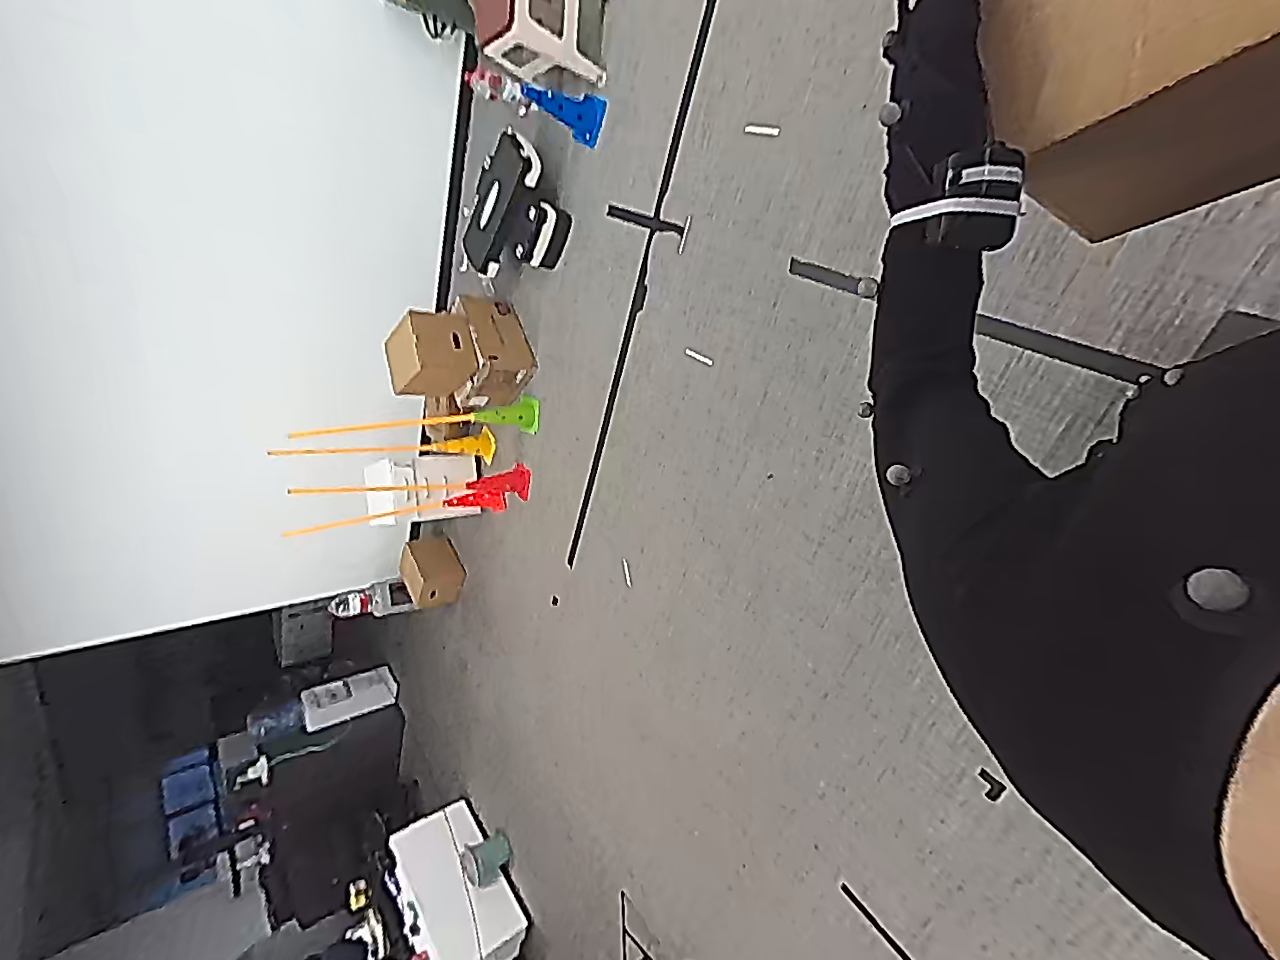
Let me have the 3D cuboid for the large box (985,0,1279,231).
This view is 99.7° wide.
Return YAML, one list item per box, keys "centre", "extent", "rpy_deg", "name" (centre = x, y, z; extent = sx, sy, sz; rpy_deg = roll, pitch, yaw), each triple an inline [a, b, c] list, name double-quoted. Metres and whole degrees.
- centre: [0.496, -0.433, 0.359]
  extent: [0.408, 0.320, 0.320]
  rpy_deg: [-10, 87, 50]
  name: "large box"
